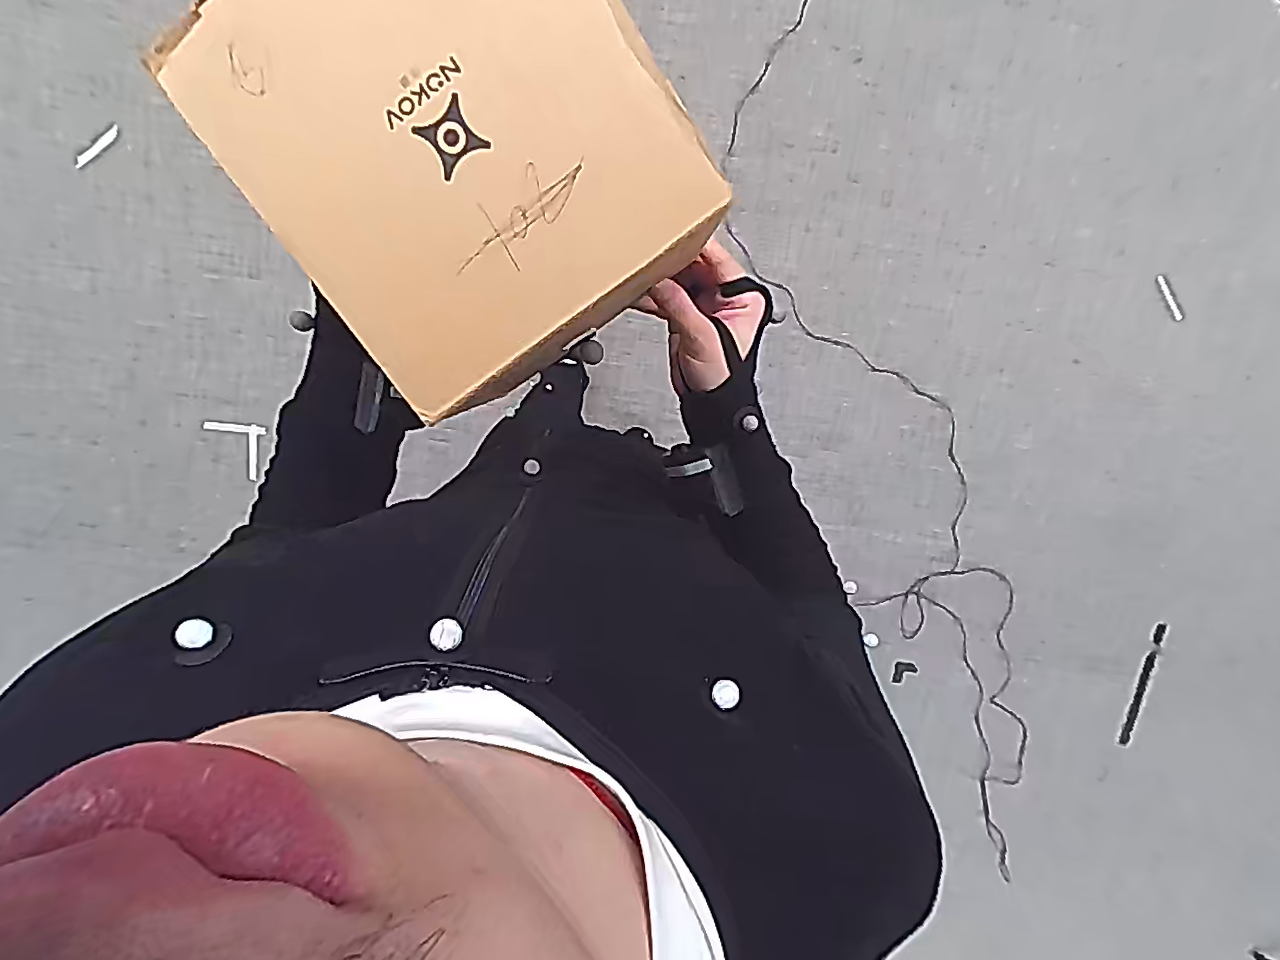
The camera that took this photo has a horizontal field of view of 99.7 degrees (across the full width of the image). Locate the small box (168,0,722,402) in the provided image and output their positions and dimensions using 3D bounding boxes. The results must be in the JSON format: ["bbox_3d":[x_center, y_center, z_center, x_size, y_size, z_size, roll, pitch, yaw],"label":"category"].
[{"bbox_3d":[-0.079,-0.165,0.303,0.168,0.176,0.179,-34,102,8],"label":"small box"}]
